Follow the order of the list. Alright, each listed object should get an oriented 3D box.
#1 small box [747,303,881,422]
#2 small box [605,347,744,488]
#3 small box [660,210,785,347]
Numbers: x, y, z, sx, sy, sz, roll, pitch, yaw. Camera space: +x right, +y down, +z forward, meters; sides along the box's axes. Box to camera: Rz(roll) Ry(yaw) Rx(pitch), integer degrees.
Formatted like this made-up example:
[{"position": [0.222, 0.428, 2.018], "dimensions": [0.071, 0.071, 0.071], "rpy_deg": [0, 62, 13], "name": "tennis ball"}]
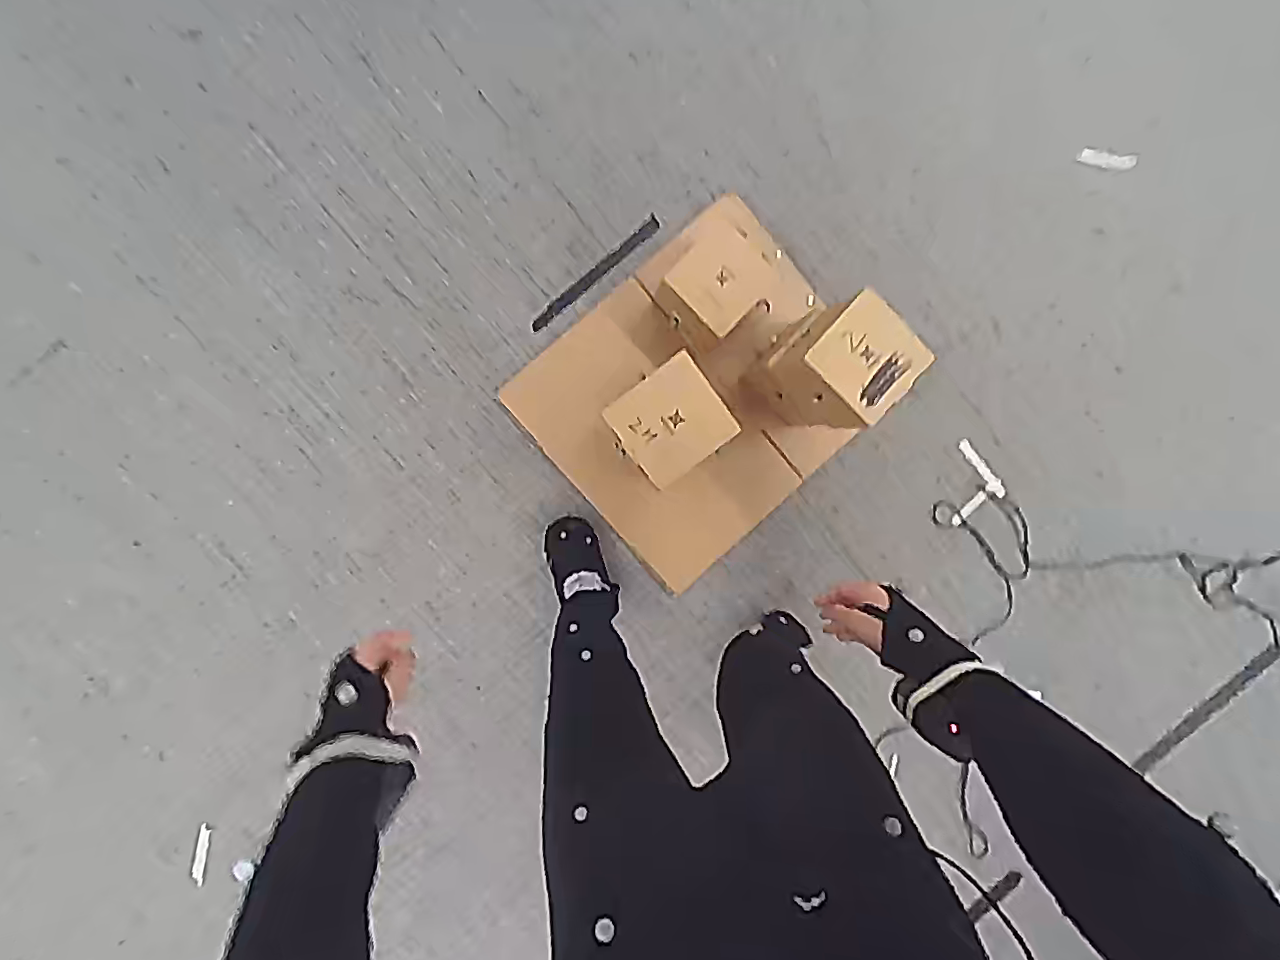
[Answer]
[{"position": [0.358, -0.239, 1.144], "dimensions": [0.179, 0.176, 0.168], "rpy_deg": [44, 89, -7], "name": "small box"}, {"position": [0.050, -0.109, 0.955], "dimensions": [0.179, 0.176, 0.168], "rpy_deg": [-37, 97, -1], "name": "small box"}, {"position": [0.158, -0.402, 1.111], "dimensions": [0.168, 0.176, 0.179], "rpy_deg": [43, 89, -5], "name": "small box"}]
